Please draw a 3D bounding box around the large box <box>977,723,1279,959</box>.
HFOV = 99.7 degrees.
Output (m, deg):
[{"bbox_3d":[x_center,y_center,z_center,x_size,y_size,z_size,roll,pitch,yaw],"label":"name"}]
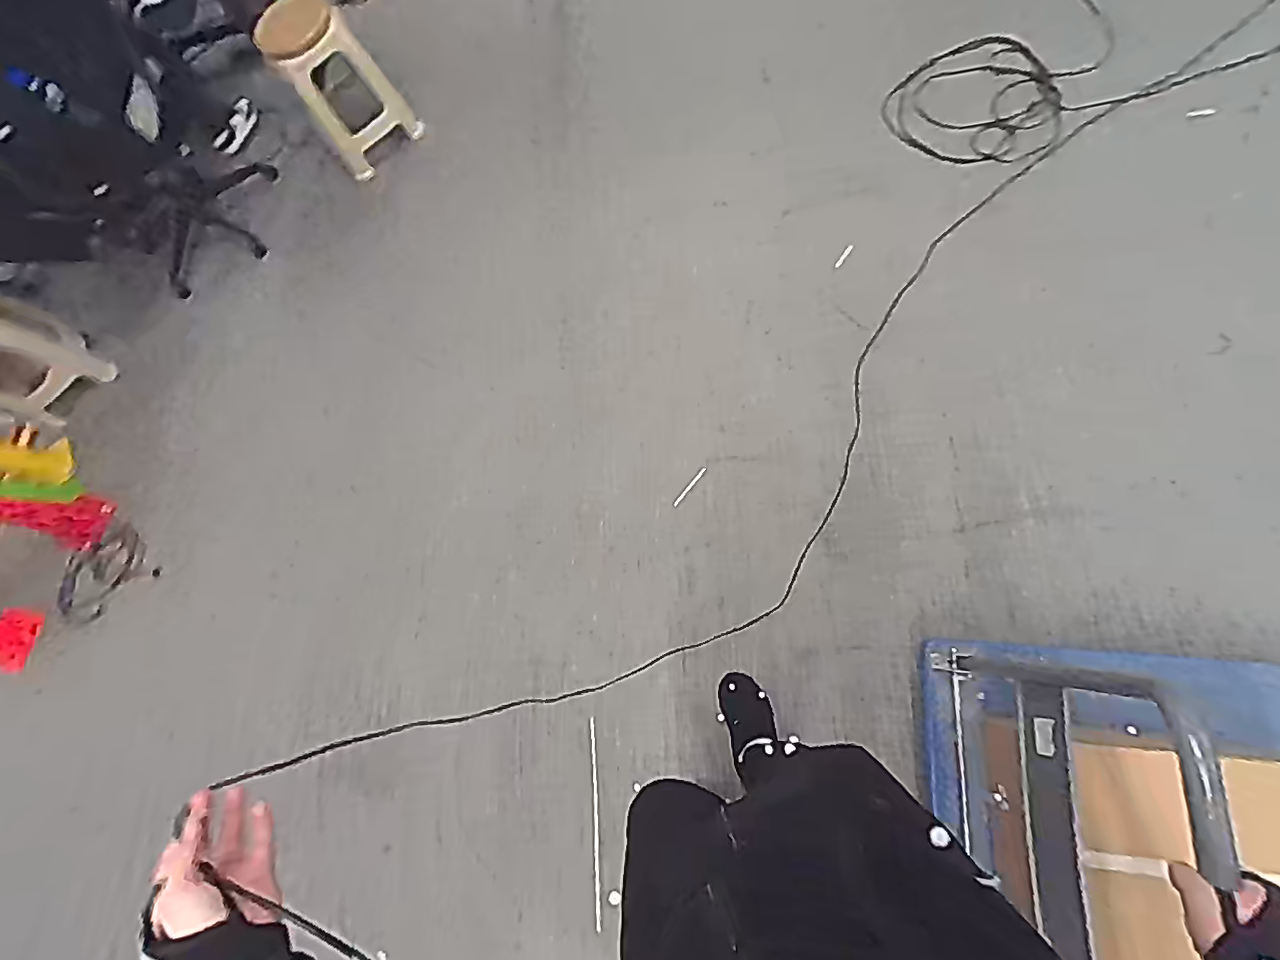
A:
[{"bbox_3d":[0.865,0.608,0.919,0.408,0.320,0.320,1,74,12],"label":"large box"}]
